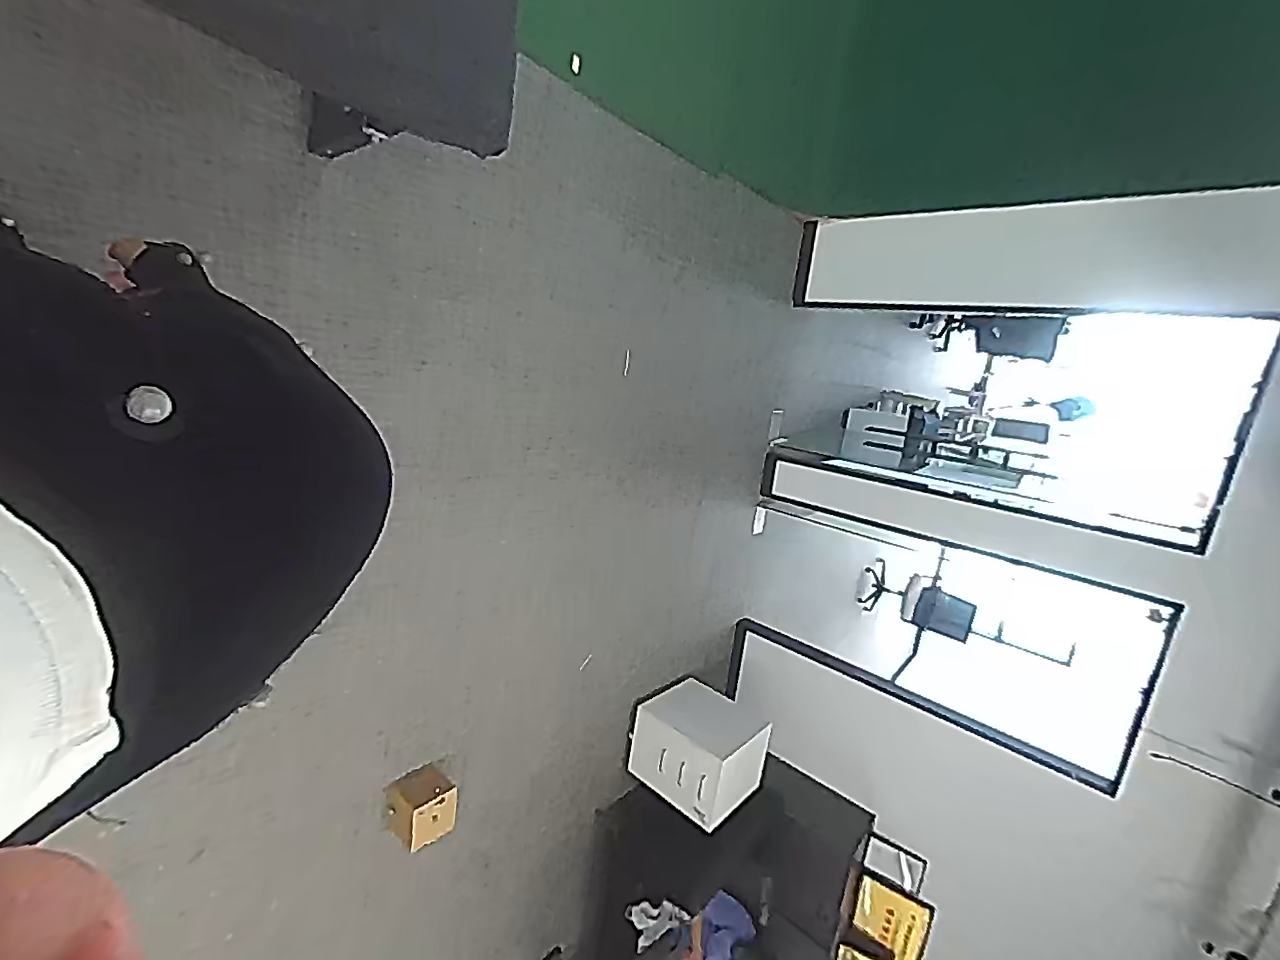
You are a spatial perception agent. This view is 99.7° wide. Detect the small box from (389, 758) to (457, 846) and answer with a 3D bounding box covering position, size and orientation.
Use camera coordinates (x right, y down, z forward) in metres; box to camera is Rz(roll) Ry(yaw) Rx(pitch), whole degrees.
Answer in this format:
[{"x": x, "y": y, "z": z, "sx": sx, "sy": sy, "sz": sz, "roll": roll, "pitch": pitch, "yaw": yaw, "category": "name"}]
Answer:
[{"x": -0.782, "y": 1.149, "z": 1.943, "sx": 0.168, "sy": 0.176, "sz": 0.179, "roll": -6, "pitch": 108, "yaw": -51, "category": "small box"}]
